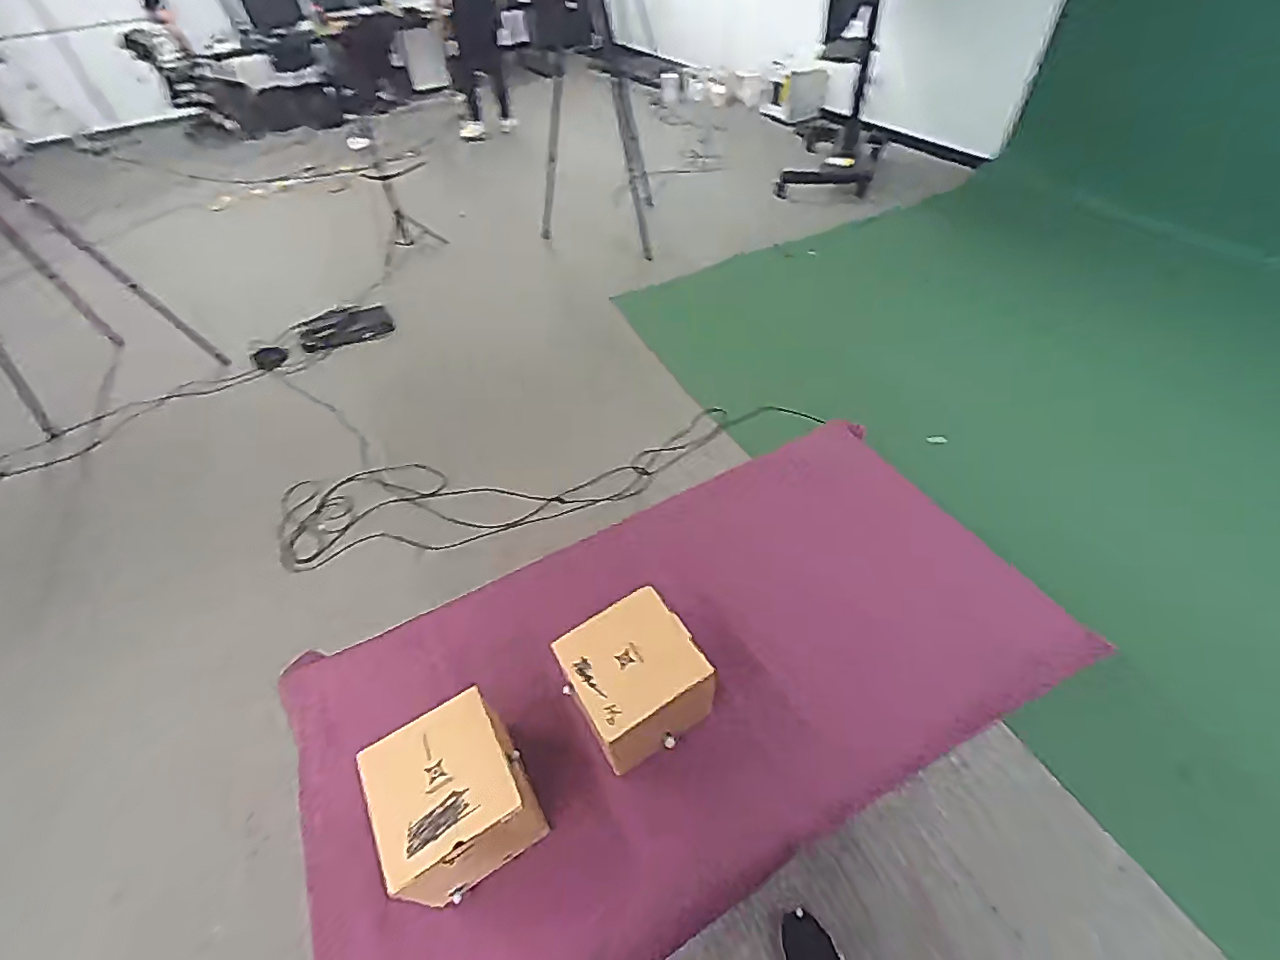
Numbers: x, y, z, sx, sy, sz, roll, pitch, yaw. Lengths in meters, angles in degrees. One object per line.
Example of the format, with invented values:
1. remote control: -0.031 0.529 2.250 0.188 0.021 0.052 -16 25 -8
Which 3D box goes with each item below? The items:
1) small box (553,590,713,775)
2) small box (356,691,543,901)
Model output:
1. small box: -0.009 0.306 0.817 0.179 0.176 0.168 -27 51 -18
2. small box: -0.248 0.428 0.729 0.168 0.176 0.179 -27 50 -18
